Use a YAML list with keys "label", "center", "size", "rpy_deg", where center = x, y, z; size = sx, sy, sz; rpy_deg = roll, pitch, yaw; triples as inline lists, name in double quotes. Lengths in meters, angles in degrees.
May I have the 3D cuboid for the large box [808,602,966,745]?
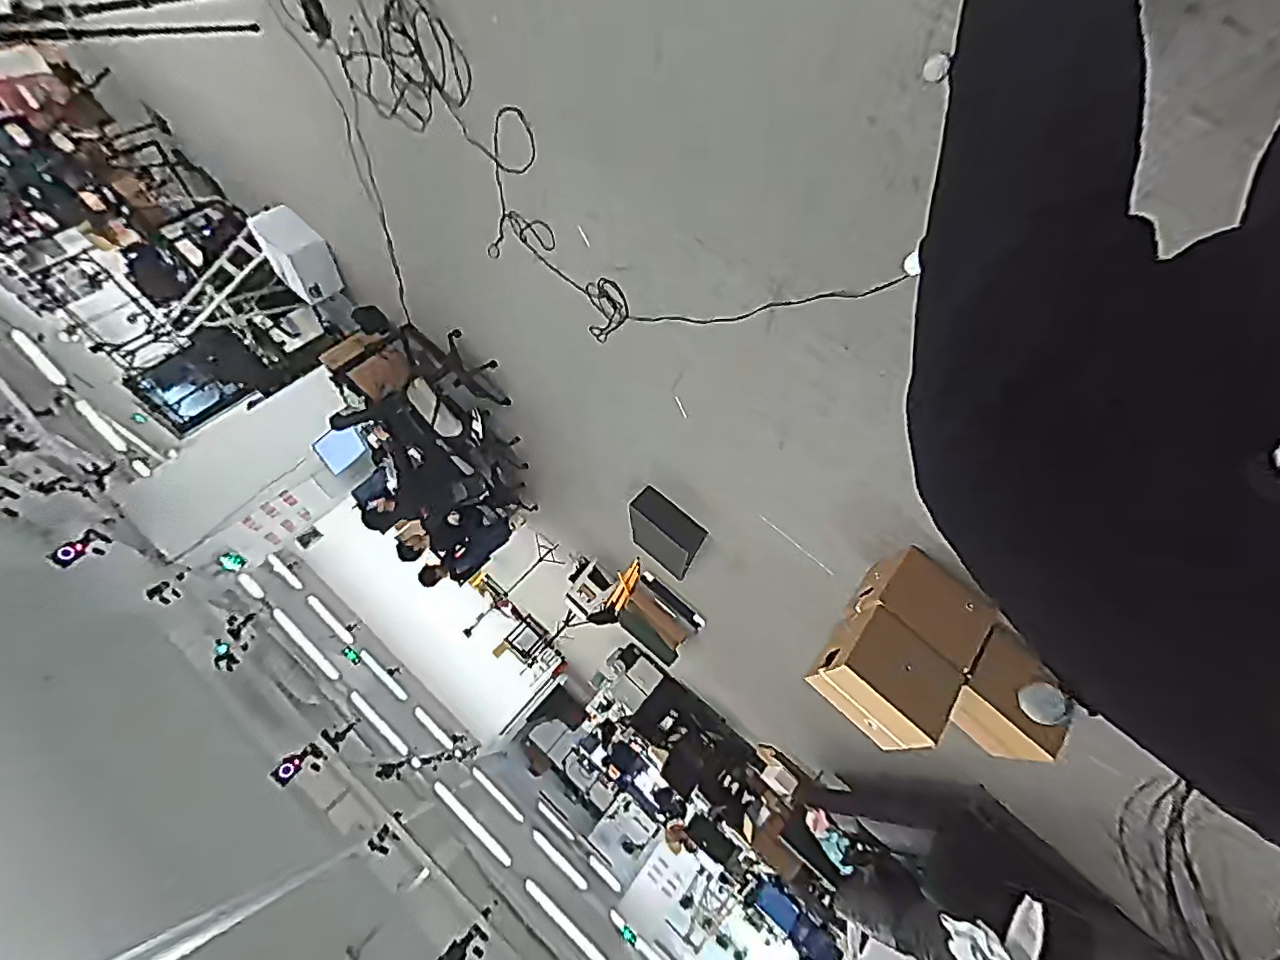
- label: "large box"
  center: [0.947, 0.748, 2.094]
  size: [0.408, 0.320, 0.320]
  rpy_deg: [40, 151, 9]
